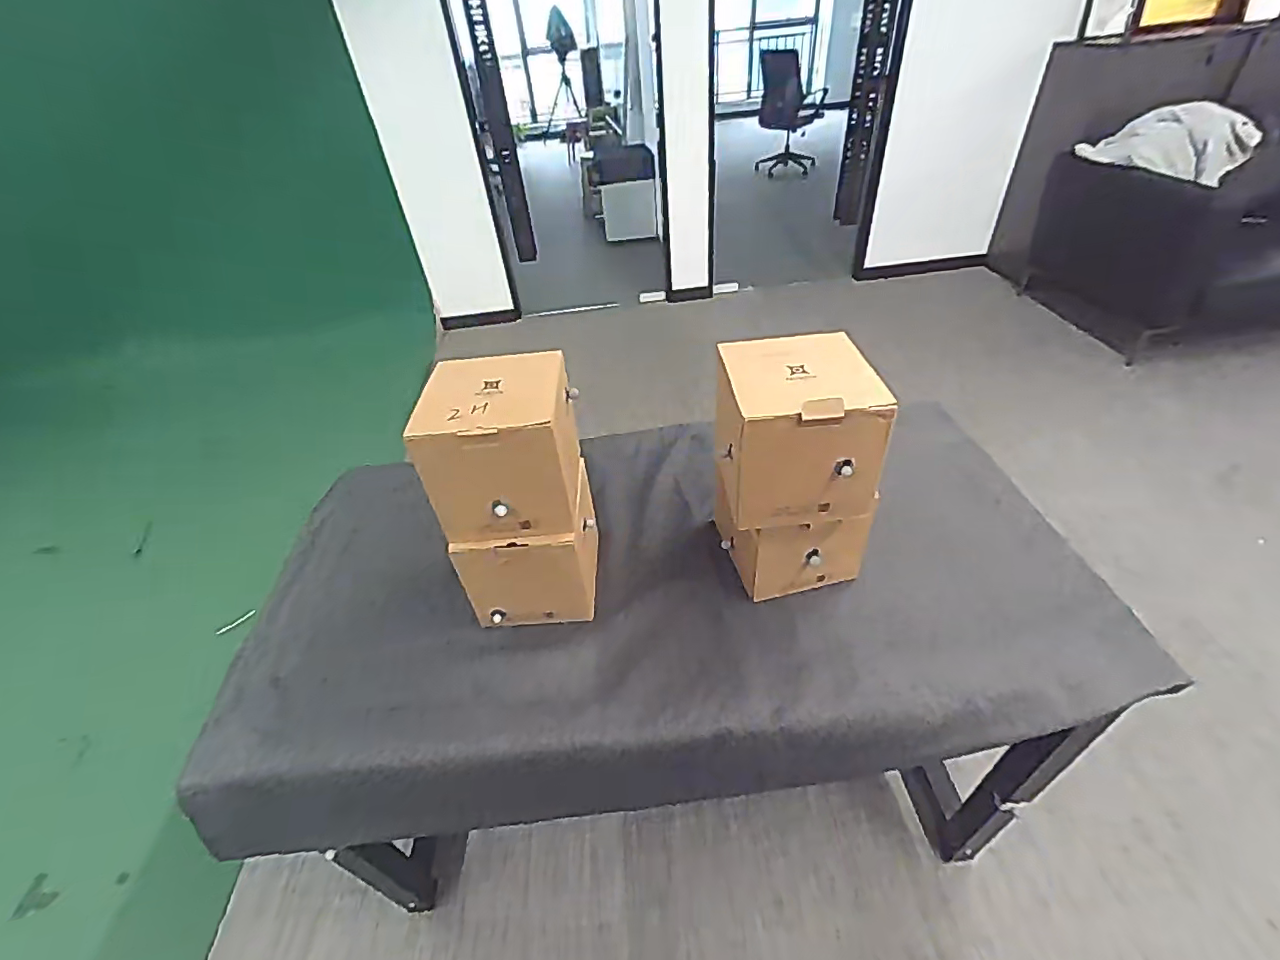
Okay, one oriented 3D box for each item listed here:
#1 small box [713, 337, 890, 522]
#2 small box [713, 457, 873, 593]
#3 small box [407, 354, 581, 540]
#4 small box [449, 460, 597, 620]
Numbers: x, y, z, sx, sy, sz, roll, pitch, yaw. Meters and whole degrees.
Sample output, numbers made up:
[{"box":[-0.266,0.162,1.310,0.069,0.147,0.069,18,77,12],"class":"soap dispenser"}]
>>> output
[{"box":[0.186,-0.059,0.680,0.168,0.176,0.179,-5,39,0],"class":"small box"},{"box":[0.214,0.048,0.803,0.168,0.176,0.179,-12,41,-7],"class":"small box"},{"box":[-0.173,-0.044,0.704,0.168,0.176,0.179,-6,40,1],"class":"small box"},{"box":[-0.157,0.092,0.797,0.168,0.176,0.179,-4,39,2],"class":"small box"}]
